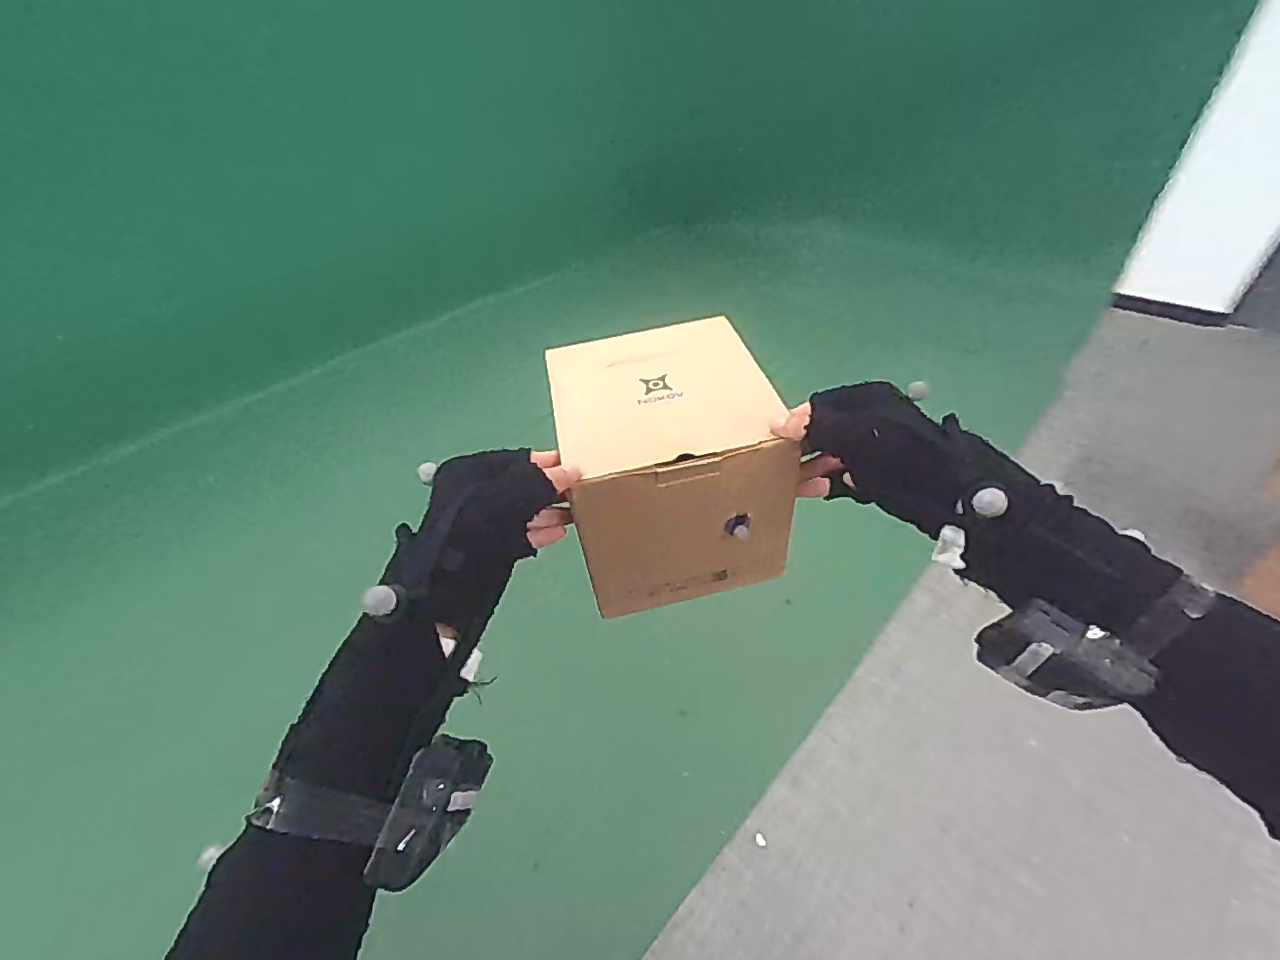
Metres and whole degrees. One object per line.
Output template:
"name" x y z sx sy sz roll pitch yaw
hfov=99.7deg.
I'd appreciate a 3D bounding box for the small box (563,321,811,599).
"small box" 0.034 -0.013 0.479 0.168 0.176 0.179 -11 43 -4
